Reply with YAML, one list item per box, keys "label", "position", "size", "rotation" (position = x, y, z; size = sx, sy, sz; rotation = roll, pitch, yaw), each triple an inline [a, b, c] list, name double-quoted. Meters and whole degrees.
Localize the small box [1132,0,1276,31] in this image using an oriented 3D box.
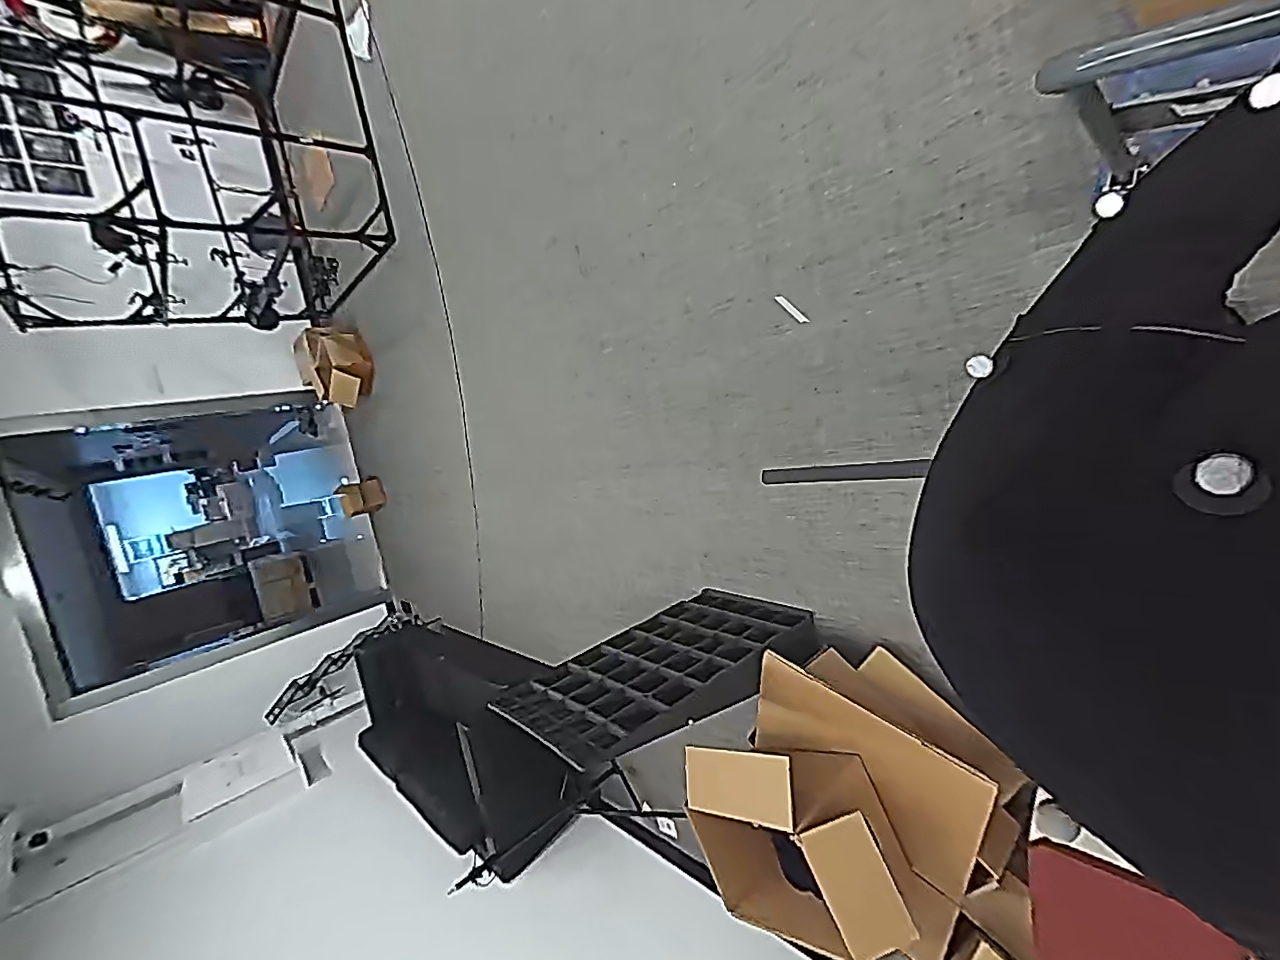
- label: "small box"
  position: [0.823, -0.771, 0.756]
  size: [0.179, 0.176, 0.168]
  rotation: [20, 117, 42]
